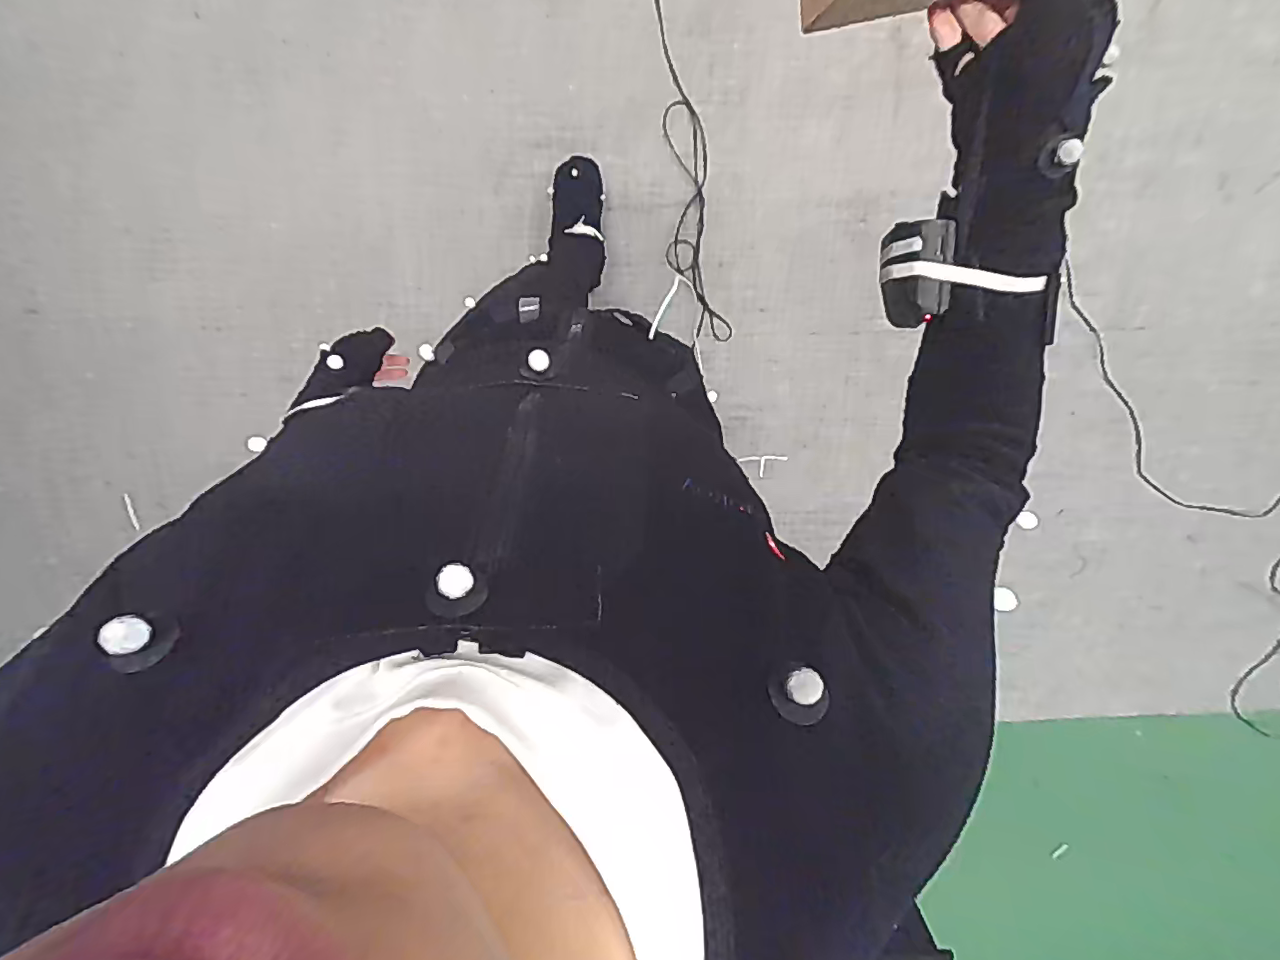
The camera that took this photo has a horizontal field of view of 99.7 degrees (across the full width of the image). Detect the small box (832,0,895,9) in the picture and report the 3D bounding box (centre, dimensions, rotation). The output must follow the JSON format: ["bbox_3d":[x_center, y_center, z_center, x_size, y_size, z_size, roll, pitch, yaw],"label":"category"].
[{"bbox_3d":[0.203,-0.413,0.313,0.168,0.176,0.179,-11,115,0],"label":"small box"}]
